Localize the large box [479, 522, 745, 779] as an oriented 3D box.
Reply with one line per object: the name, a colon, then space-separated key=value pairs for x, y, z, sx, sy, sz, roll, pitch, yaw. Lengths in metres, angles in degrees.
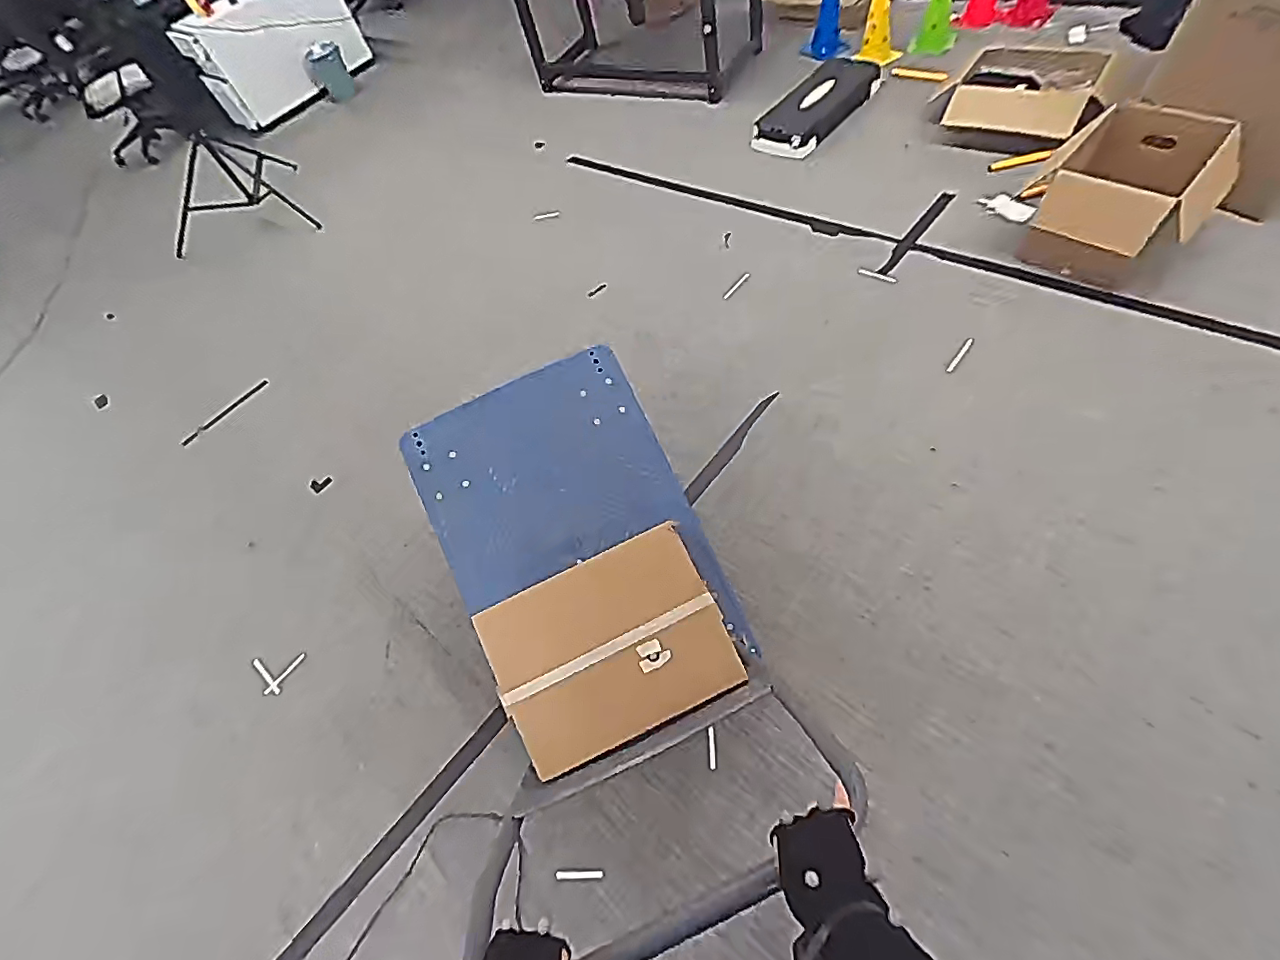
large box: x=-0.054 y=0.327 z=1.125 sx=0.408 sy=0.320 sz=0.320 roll=-27 pitch=82 yaw=-5
